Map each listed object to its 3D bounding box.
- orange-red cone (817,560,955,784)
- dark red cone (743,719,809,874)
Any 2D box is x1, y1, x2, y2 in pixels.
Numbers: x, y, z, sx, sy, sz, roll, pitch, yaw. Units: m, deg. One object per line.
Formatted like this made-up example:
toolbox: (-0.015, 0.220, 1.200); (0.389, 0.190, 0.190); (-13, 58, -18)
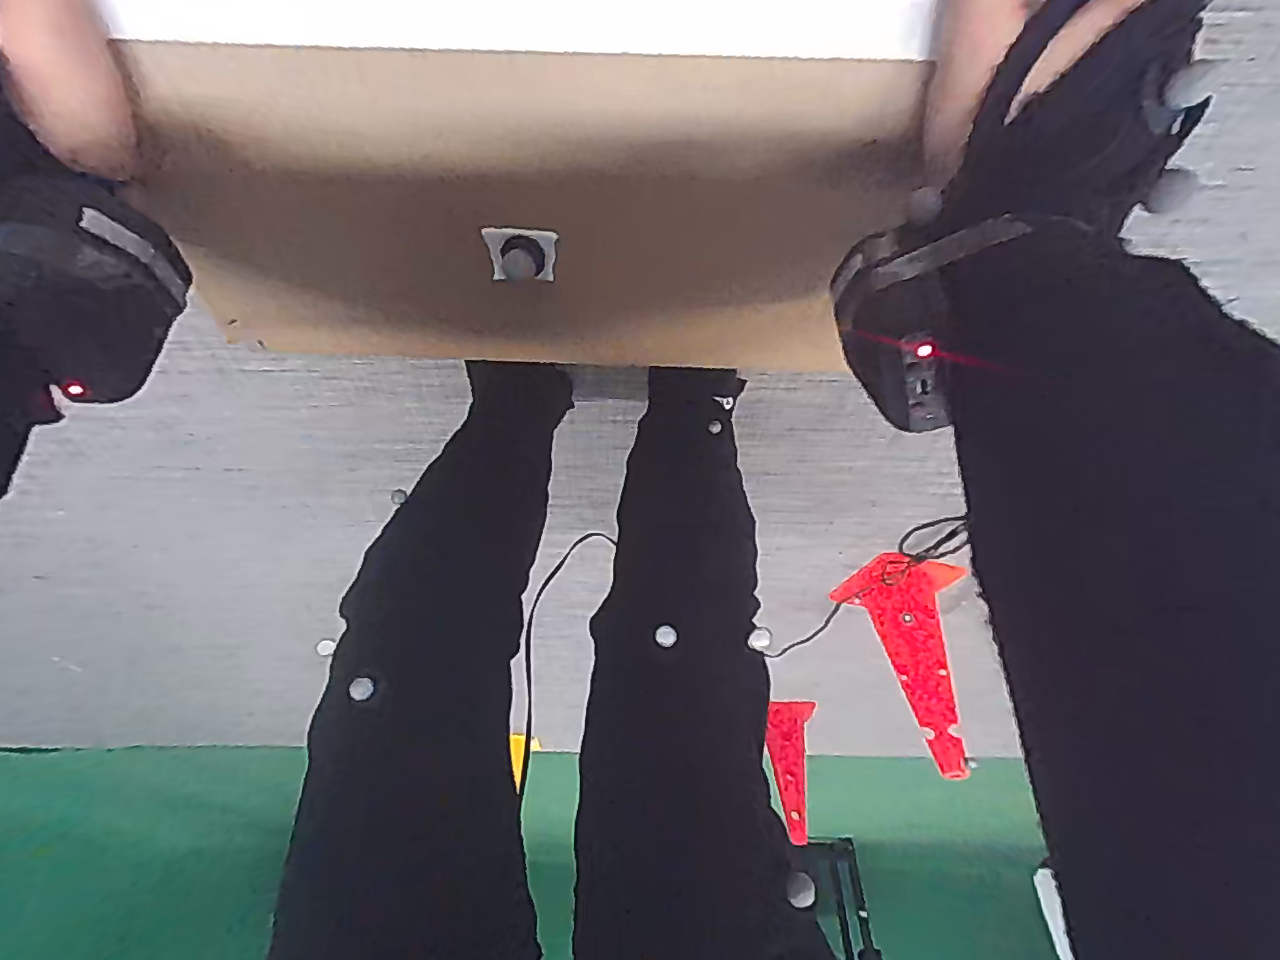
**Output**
orange-red cone: (0.492, 0.353, 0.990); (0.199, 0.360, 0.198); (13, 138, -16)
dark red cone: (0.428, 0.922, 1.598); (0.202, 0.394, 0.201); (-5, 141, 5)
